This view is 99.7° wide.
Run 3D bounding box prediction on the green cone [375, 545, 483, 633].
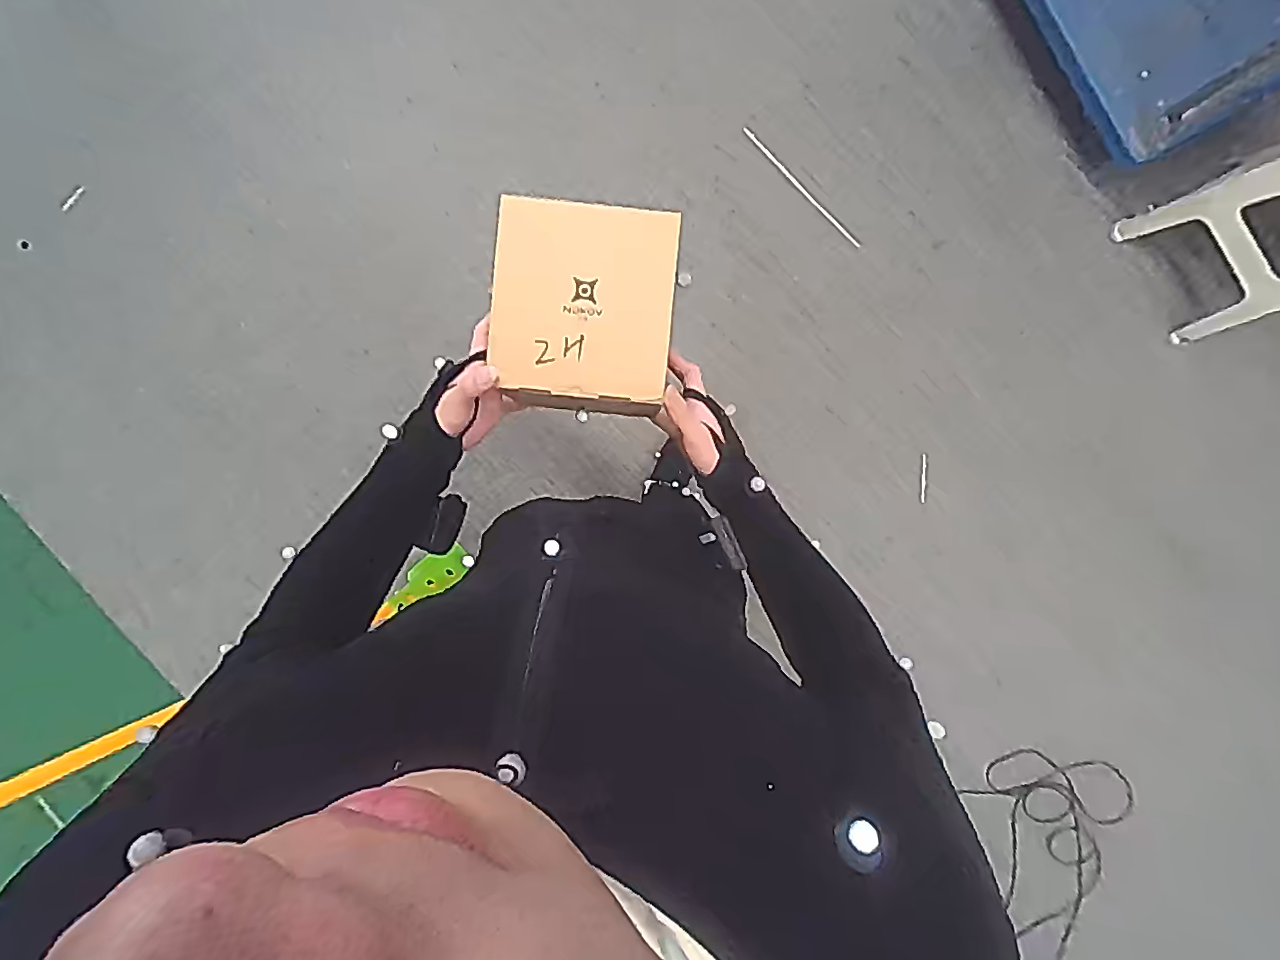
[{"bbox_3d":[-0.616,0.336,1.479,0.200,0.368,0.202,-42,90,5],"label":"green cone"}]
